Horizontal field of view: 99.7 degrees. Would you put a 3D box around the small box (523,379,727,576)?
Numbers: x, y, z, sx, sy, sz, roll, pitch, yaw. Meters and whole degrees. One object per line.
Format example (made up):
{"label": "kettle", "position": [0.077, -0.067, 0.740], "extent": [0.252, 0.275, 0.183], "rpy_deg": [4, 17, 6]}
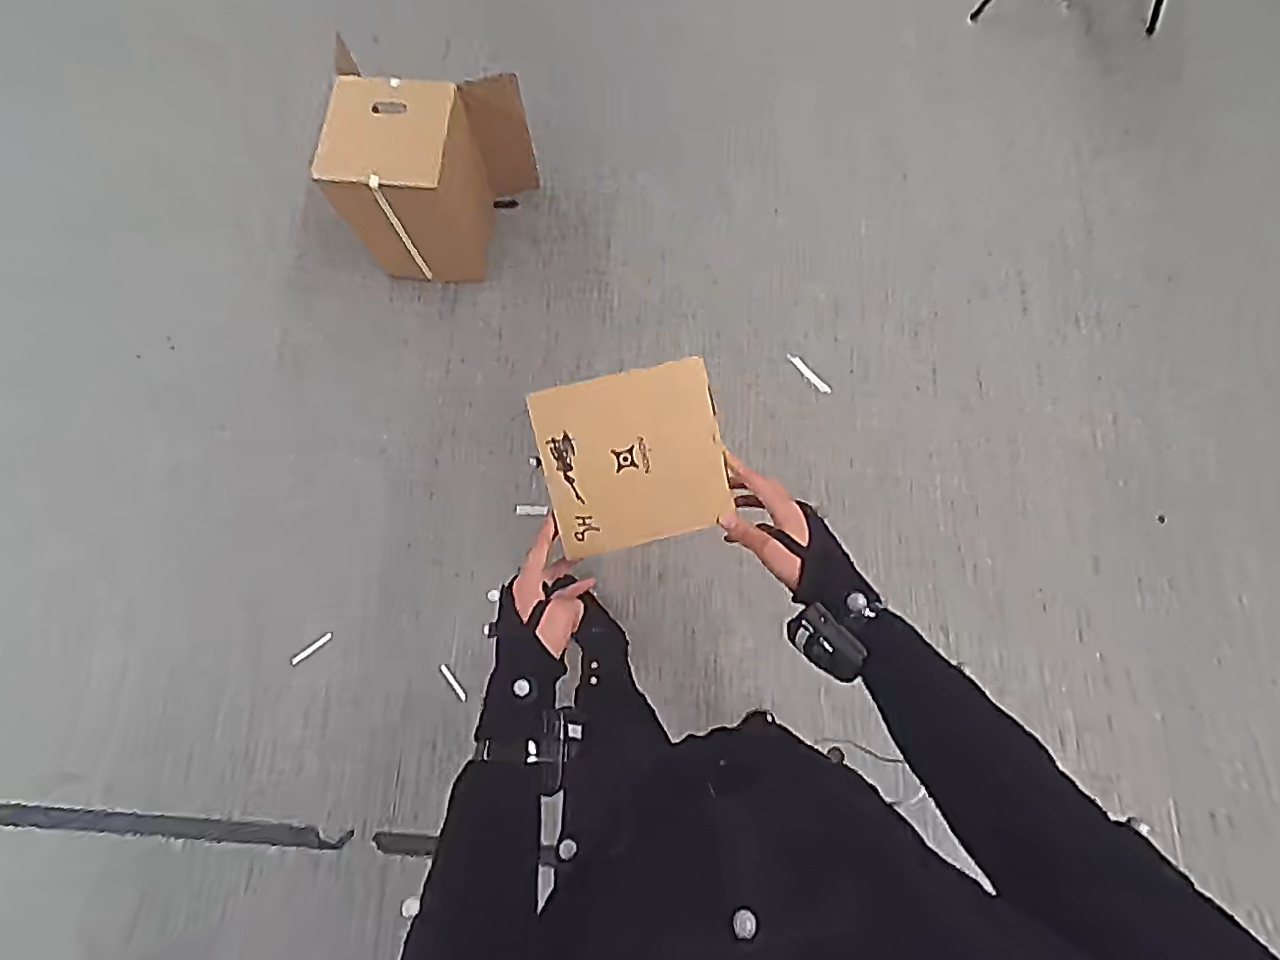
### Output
{"label": "small box", "position": [-0.020, -0.009, 0.608], "extent": [0.179, 0.176, 0.168], "rpy_deg": [-14, 94, -4]}
